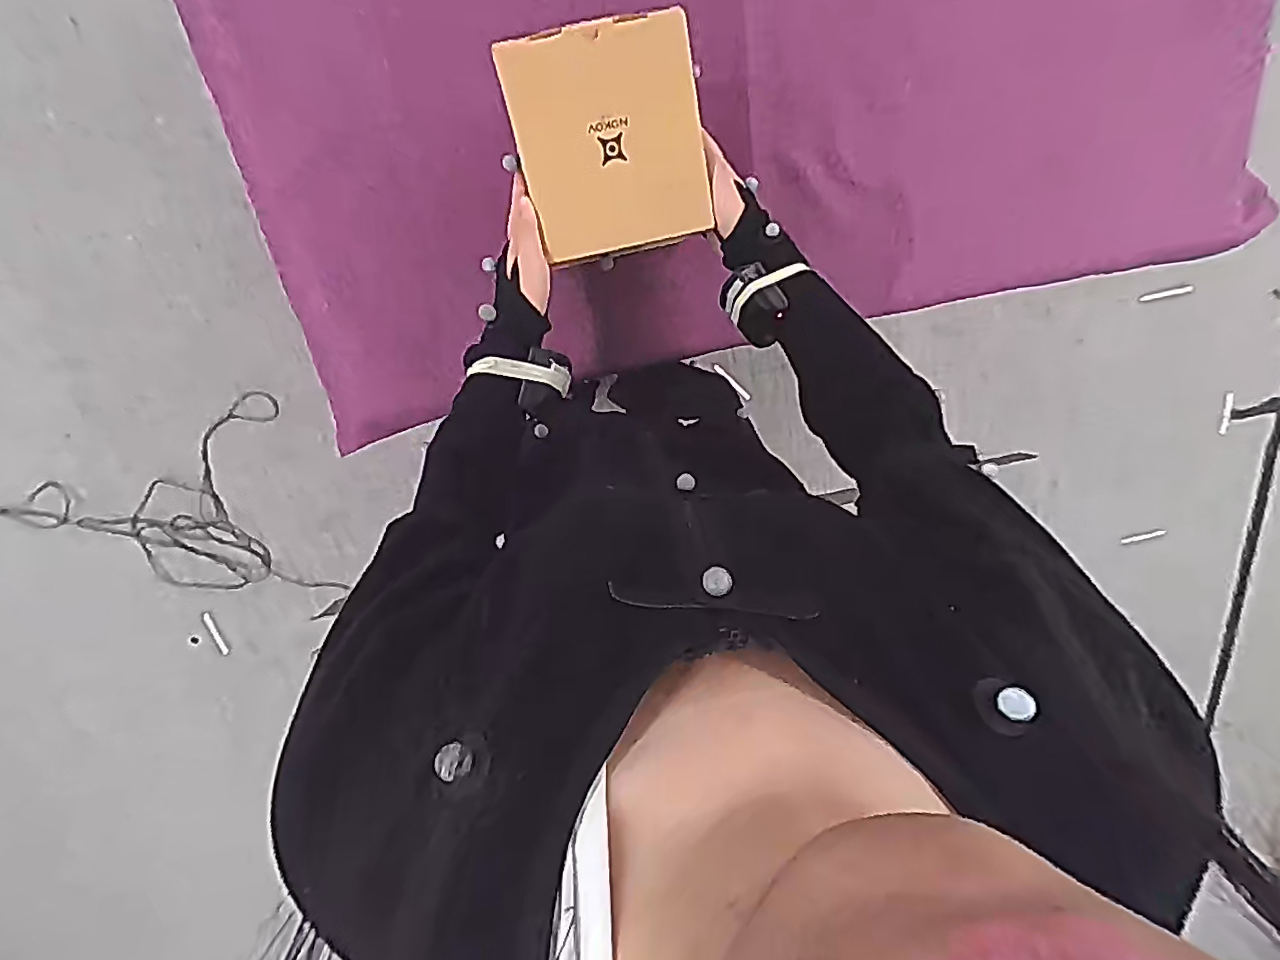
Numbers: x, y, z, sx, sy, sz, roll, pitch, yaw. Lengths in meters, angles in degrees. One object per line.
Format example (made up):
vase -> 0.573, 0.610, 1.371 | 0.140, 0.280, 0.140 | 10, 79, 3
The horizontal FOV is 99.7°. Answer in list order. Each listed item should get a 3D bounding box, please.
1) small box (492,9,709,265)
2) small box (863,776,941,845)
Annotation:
small box -> -0.037, -0.327, 0.557 | 0.168, 0.176, 0.179 | -13, 110, -2
small box -> 0.972, 1.240, 2.002 | 0.179, 0.176, 0.168 | 32, 103, -16
